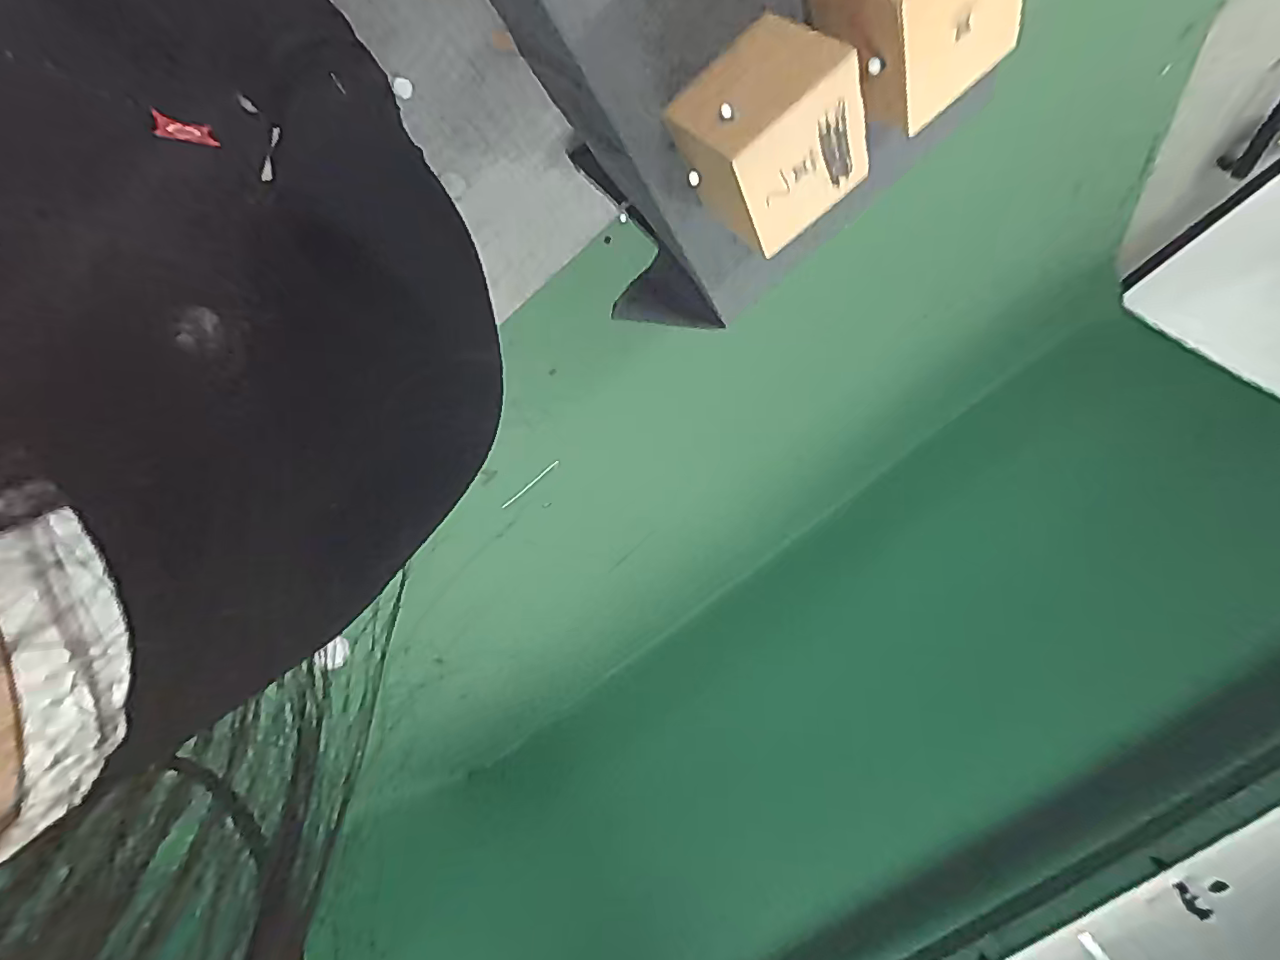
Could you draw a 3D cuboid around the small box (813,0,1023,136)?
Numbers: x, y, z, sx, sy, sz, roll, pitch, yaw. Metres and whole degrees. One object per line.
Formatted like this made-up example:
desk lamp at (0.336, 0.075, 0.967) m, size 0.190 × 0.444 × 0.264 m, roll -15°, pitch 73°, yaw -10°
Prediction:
small box at (0.340, -0.588, 0.673) m, size 0.168 × 0.176 × 0.179 m, roll -40°, pitch 146°, yaw 10°
